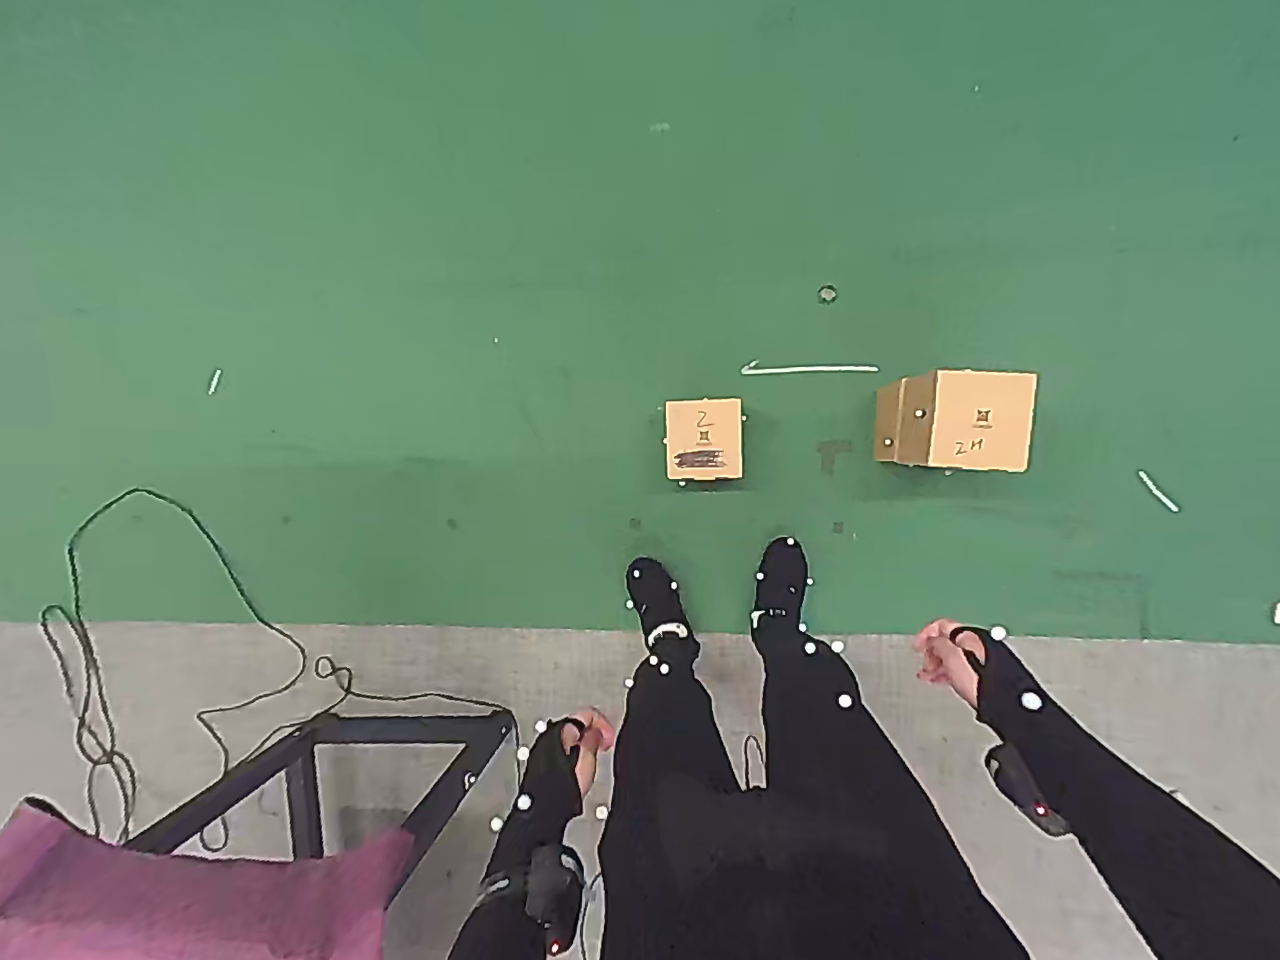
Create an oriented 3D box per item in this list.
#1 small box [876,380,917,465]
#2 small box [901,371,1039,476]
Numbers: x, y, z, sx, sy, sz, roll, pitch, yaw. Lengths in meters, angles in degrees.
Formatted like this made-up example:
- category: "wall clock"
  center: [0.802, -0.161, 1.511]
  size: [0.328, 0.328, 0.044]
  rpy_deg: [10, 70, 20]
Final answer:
- category: "small box"
  center: [0.633, -0.120, 1.193]
  size: [0.168, 0.176, 0.179]
  rpy_deg: [2, 95, 7]
- category: "small box"
  center: [0.615, -0.105, 1.030]
  size: [0.168, 0.176, 0.179]
  rpy_deg: [4, 95, 7]
